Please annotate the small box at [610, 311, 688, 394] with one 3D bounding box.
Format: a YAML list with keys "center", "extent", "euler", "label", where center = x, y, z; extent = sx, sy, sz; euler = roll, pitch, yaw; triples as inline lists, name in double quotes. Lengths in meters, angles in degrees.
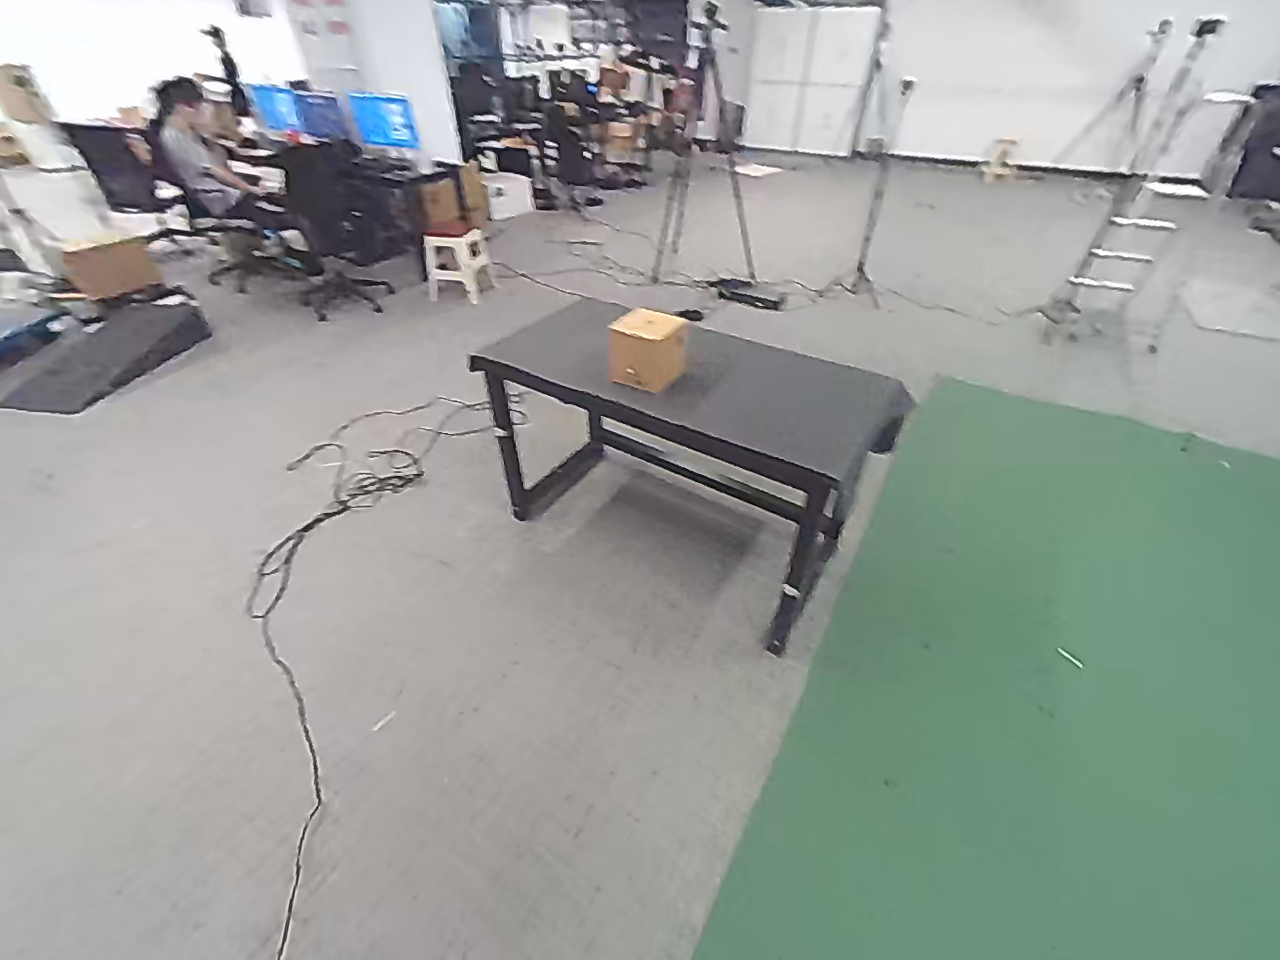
- center: [0.024, -0.377, 1.597]
  extent: [0.168, 0.176, 0.179]
  euler: [21, 43, 24]
  label: "small box"
